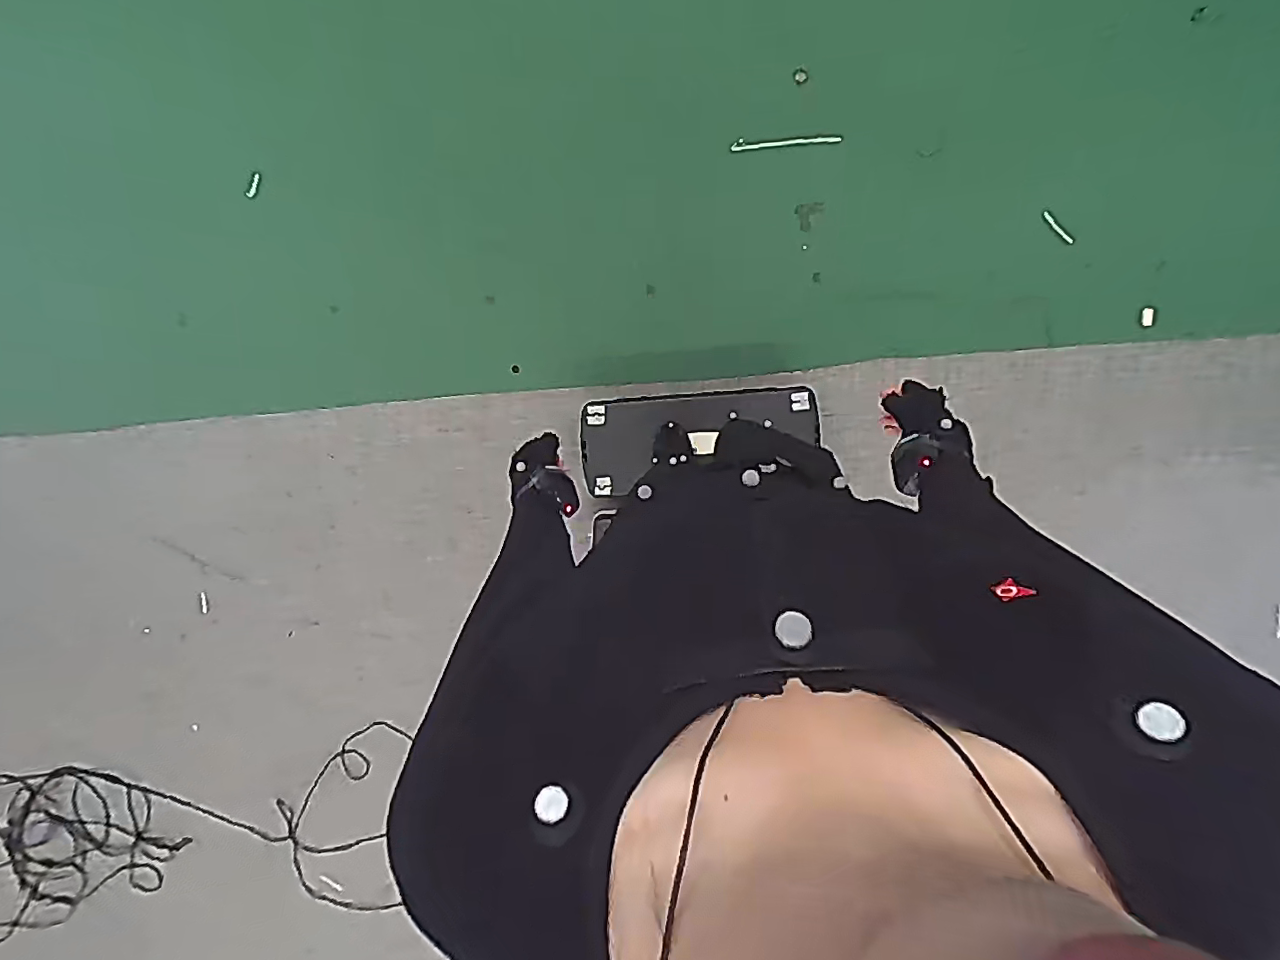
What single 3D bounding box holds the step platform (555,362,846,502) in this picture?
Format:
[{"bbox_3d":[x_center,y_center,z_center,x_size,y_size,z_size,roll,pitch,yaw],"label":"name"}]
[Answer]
[{"bbox_3d":[0.145,-0.122,1.365,0.684,0.204,0.286,-4,97,4],"label":"step platform"}]
